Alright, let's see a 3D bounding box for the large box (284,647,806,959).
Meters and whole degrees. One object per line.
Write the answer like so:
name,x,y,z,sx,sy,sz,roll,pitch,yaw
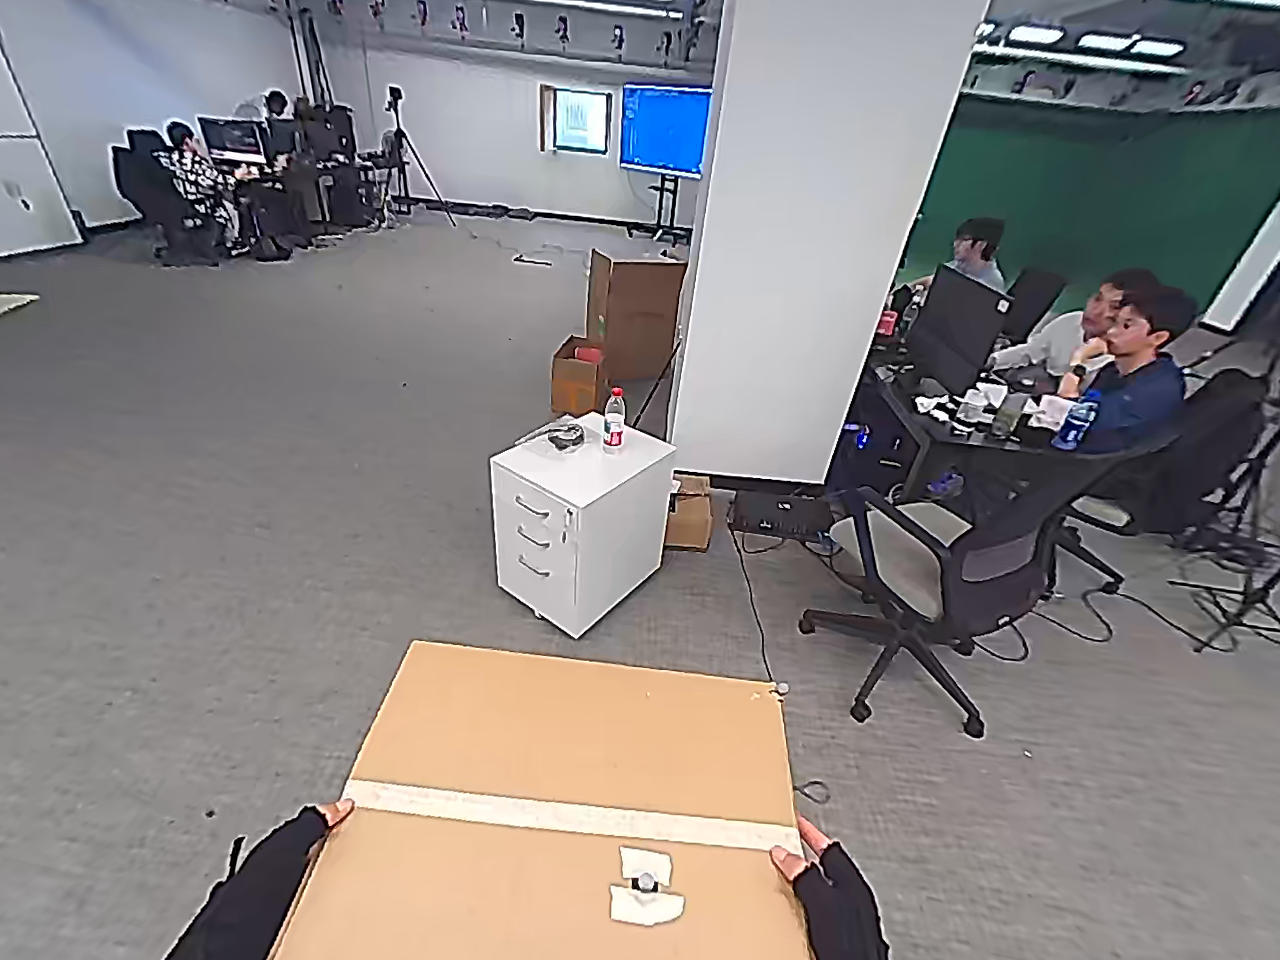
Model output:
large box,-0.077,0.419,0.583,0.408,0.320,0.320,8,40,-1
